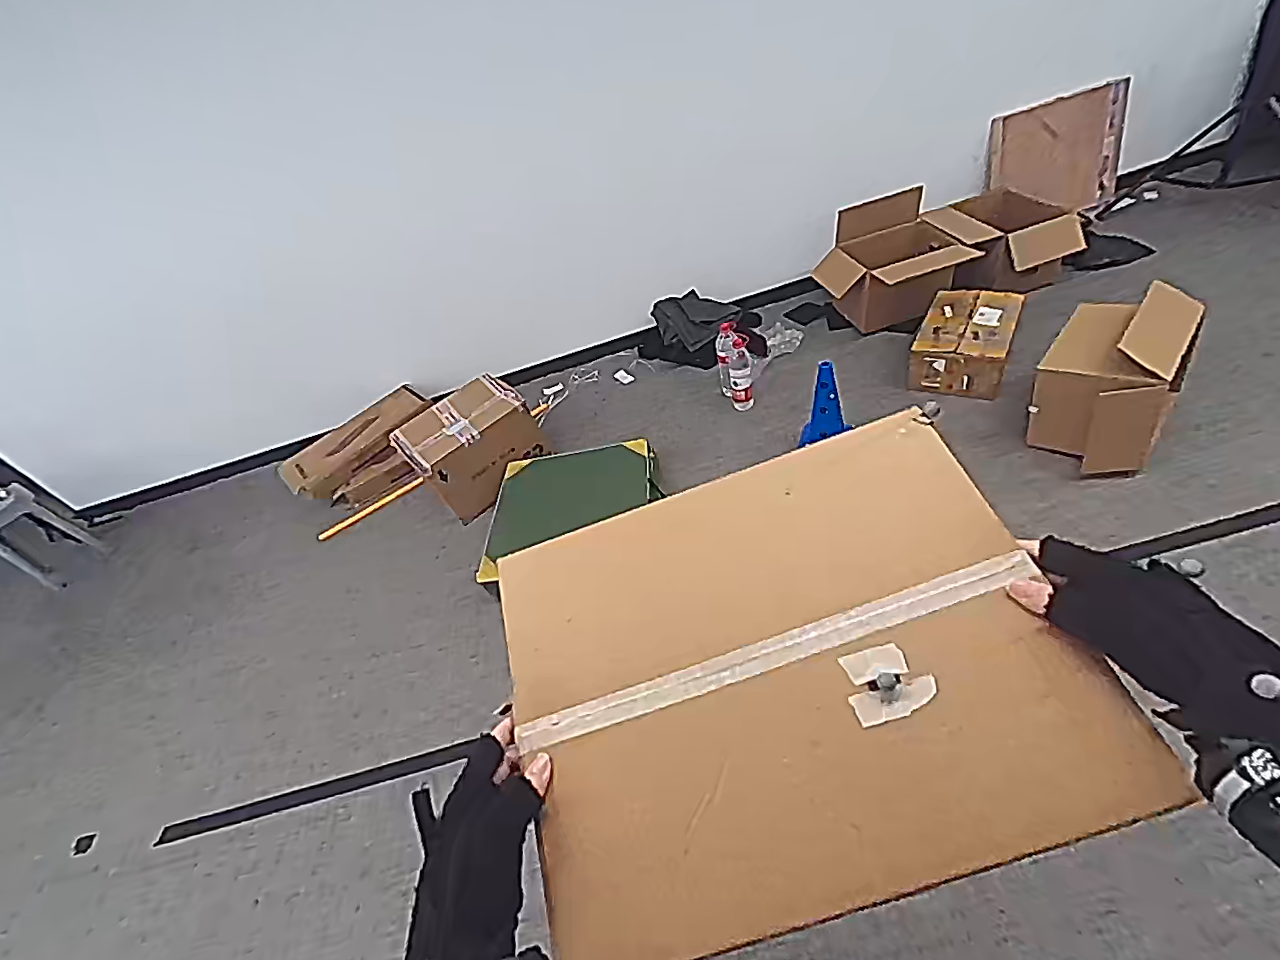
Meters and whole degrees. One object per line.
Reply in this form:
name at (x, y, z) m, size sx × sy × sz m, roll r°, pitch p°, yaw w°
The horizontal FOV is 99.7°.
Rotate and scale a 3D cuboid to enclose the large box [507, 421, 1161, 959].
large box at (0.132, 0.210, 0.547) m, size 0.408 × 0.320 × 0.320 m, roll -21°, pitch 59°, yaw 2°
